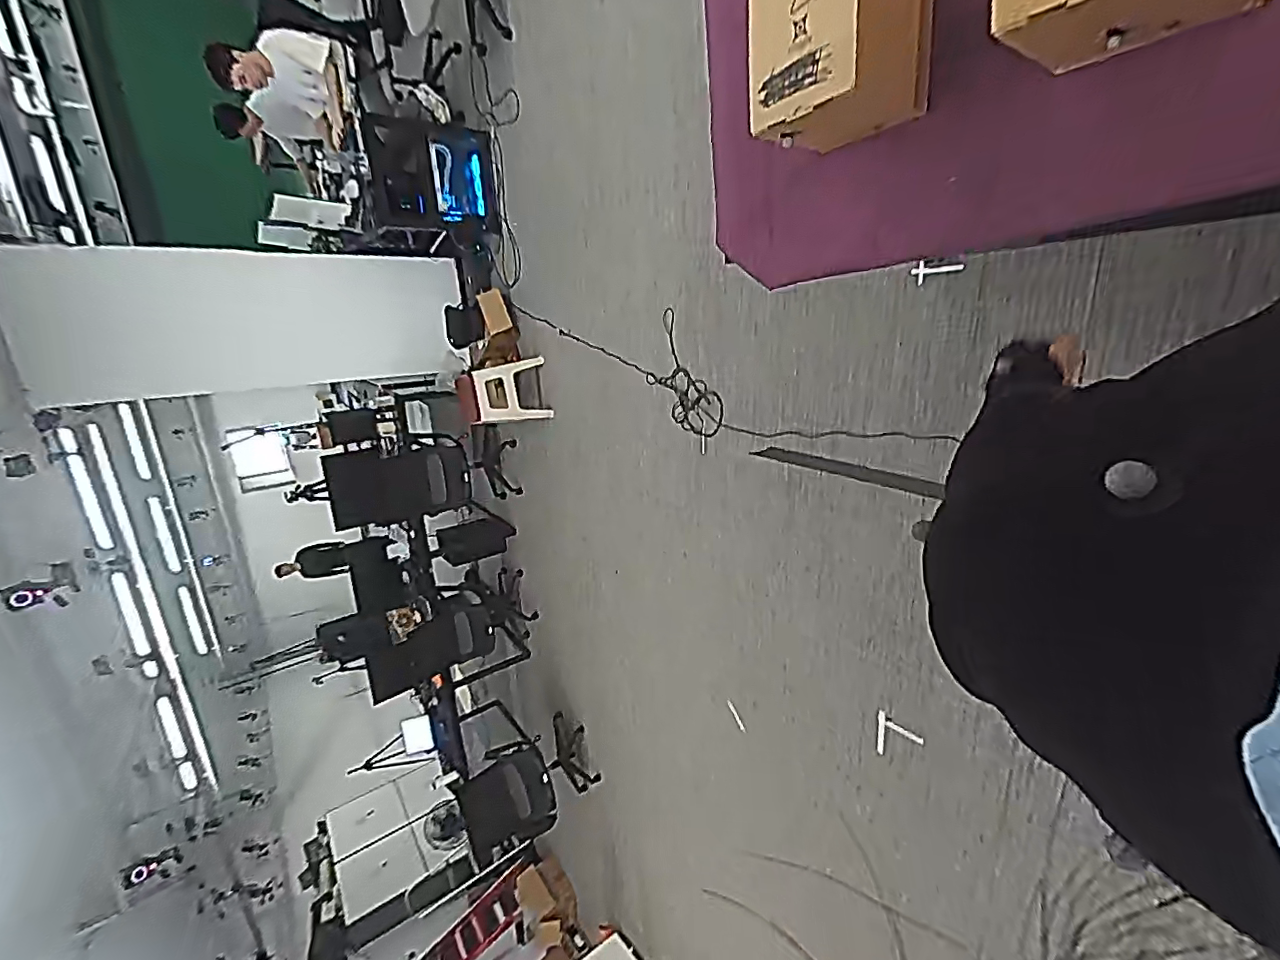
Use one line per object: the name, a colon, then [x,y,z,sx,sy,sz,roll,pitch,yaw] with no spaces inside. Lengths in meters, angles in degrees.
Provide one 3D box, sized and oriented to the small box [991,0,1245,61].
small box: [0.444,-0.516,0.476,0.168,0.176,0.179,18,117,52]
